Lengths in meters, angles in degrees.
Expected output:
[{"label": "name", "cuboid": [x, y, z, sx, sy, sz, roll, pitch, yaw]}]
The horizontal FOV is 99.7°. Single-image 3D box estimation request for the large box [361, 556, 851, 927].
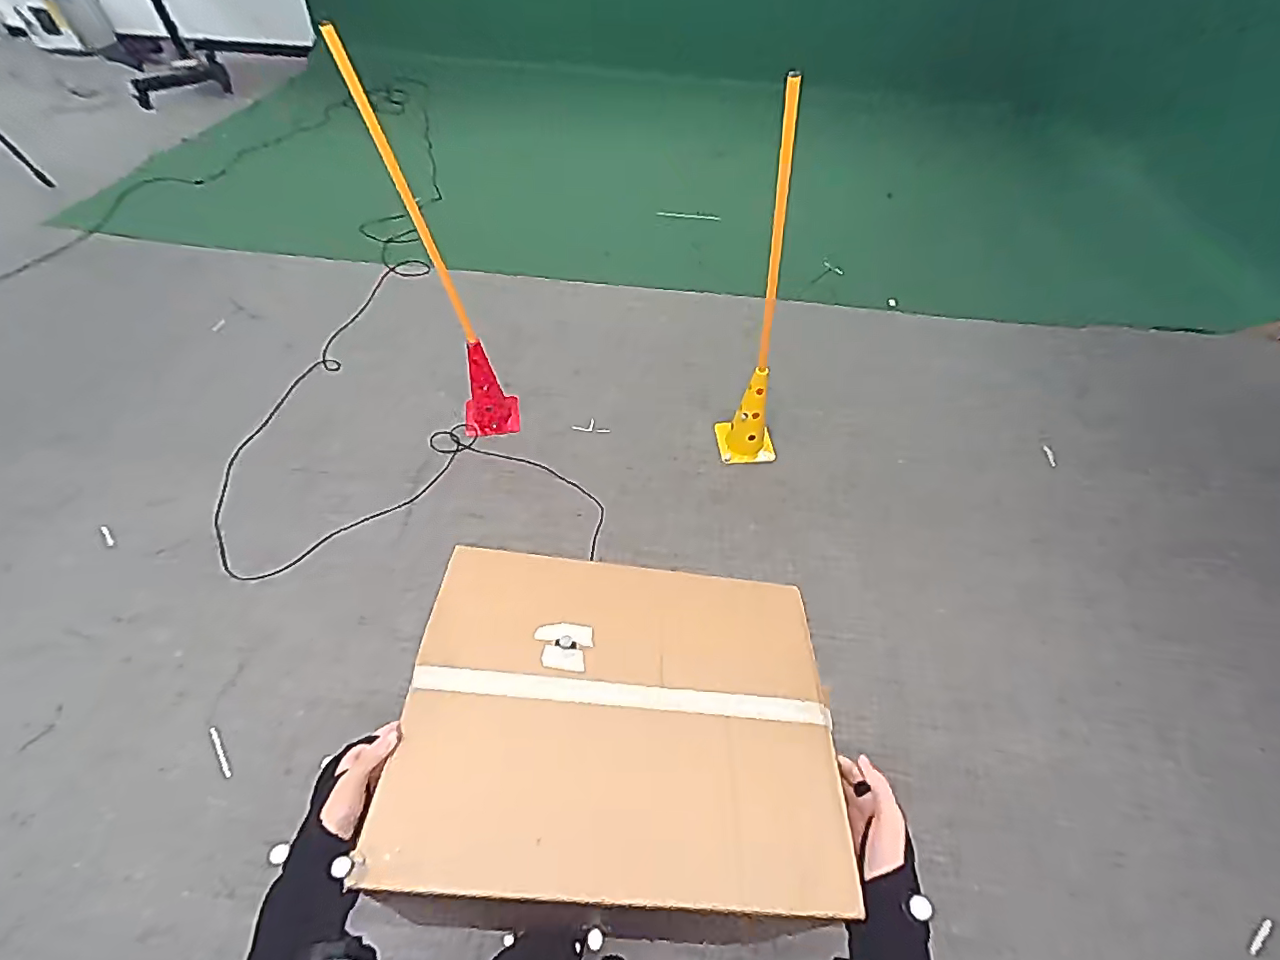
[{"label": "large box", "cuboid": [-0.035, 0.319, 0.640, 0.408, 0.320, 0.320, 7, 46, -5]}]
